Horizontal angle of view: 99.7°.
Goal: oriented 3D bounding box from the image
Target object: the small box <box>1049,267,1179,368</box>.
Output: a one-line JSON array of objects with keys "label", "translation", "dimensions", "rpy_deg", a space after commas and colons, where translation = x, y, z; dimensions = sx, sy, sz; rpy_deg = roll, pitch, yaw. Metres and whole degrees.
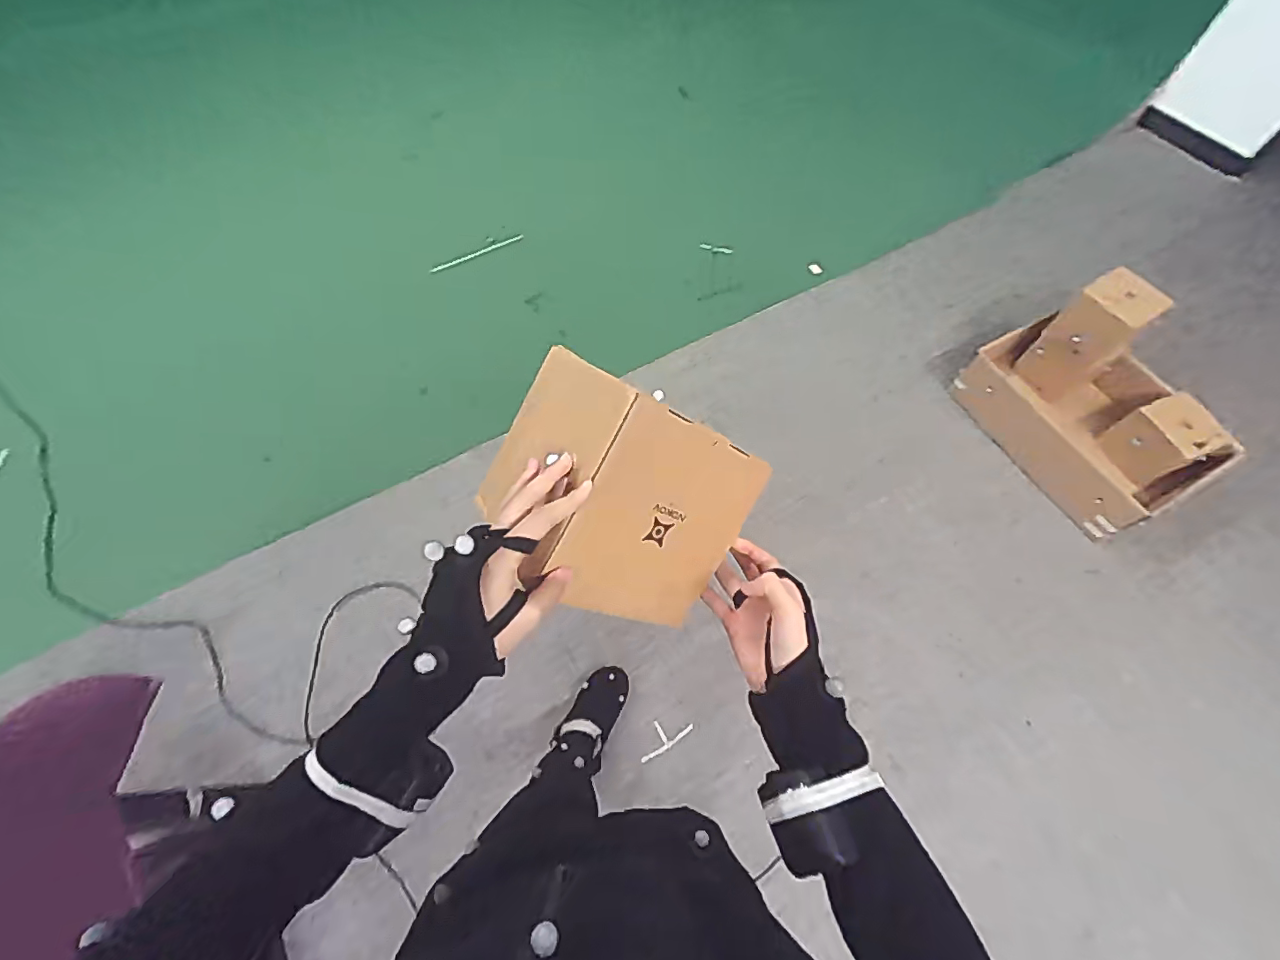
[{"label": "small box", "translation": [1.298, -0.446, 1.497], "dimensions": [0.179, 0.176, 0.168], "rpy_deg": [-29, 66, -13]}]

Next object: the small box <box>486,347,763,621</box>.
[{"label": "small box", "translation": [-0.027, 0.000, 0.508], "dimensions": [0.179, 0.168, 0.176], "rpy_deg": [-60, 37, 7]}]
